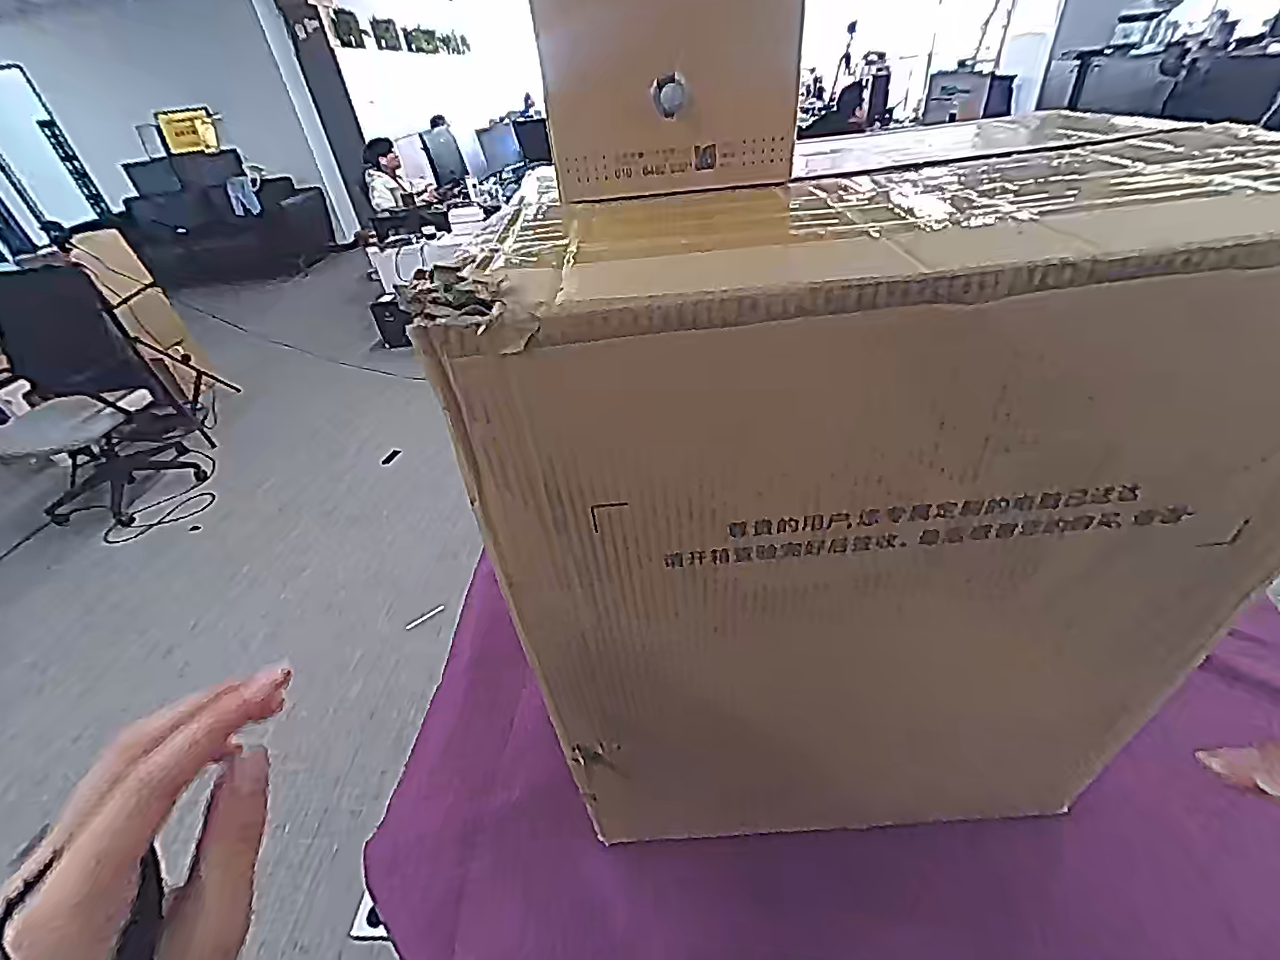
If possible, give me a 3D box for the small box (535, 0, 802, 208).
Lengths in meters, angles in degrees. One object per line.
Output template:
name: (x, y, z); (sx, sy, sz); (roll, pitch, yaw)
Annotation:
small box: (0.017, -0.314, 0.409); (0.168, 0.176, 0.179); (-5, 37, 3)
